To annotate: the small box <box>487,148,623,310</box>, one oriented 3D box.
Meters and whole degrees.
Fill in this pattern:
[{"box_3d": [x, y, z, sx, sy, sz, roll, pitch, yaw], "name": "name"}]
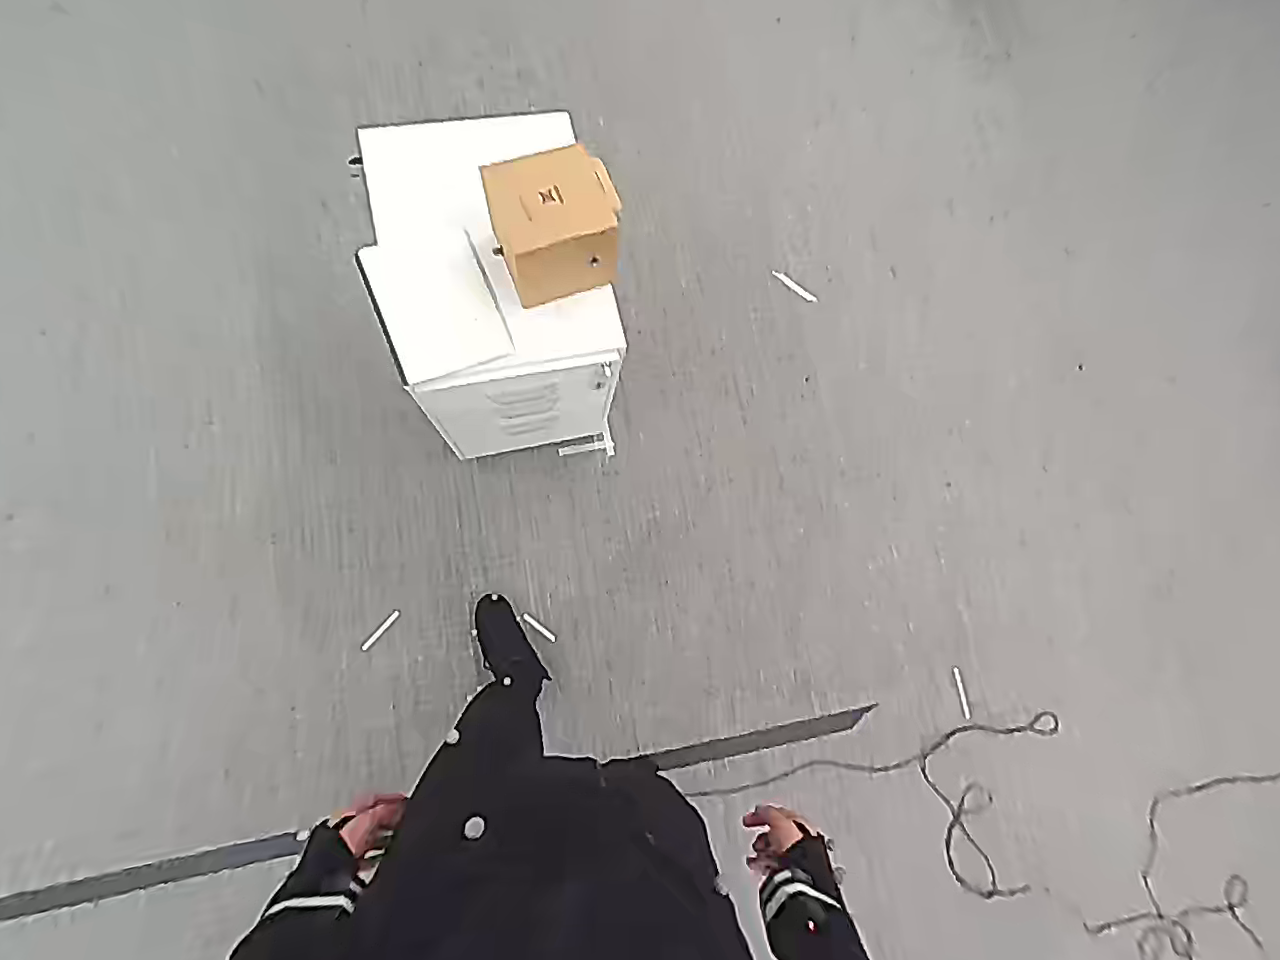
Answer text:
[{"box_3d": [-0.145, -0.420, 0.926, 0.179, 0.176, 0.168, -20, 81, -11], "name": "small box"}]
